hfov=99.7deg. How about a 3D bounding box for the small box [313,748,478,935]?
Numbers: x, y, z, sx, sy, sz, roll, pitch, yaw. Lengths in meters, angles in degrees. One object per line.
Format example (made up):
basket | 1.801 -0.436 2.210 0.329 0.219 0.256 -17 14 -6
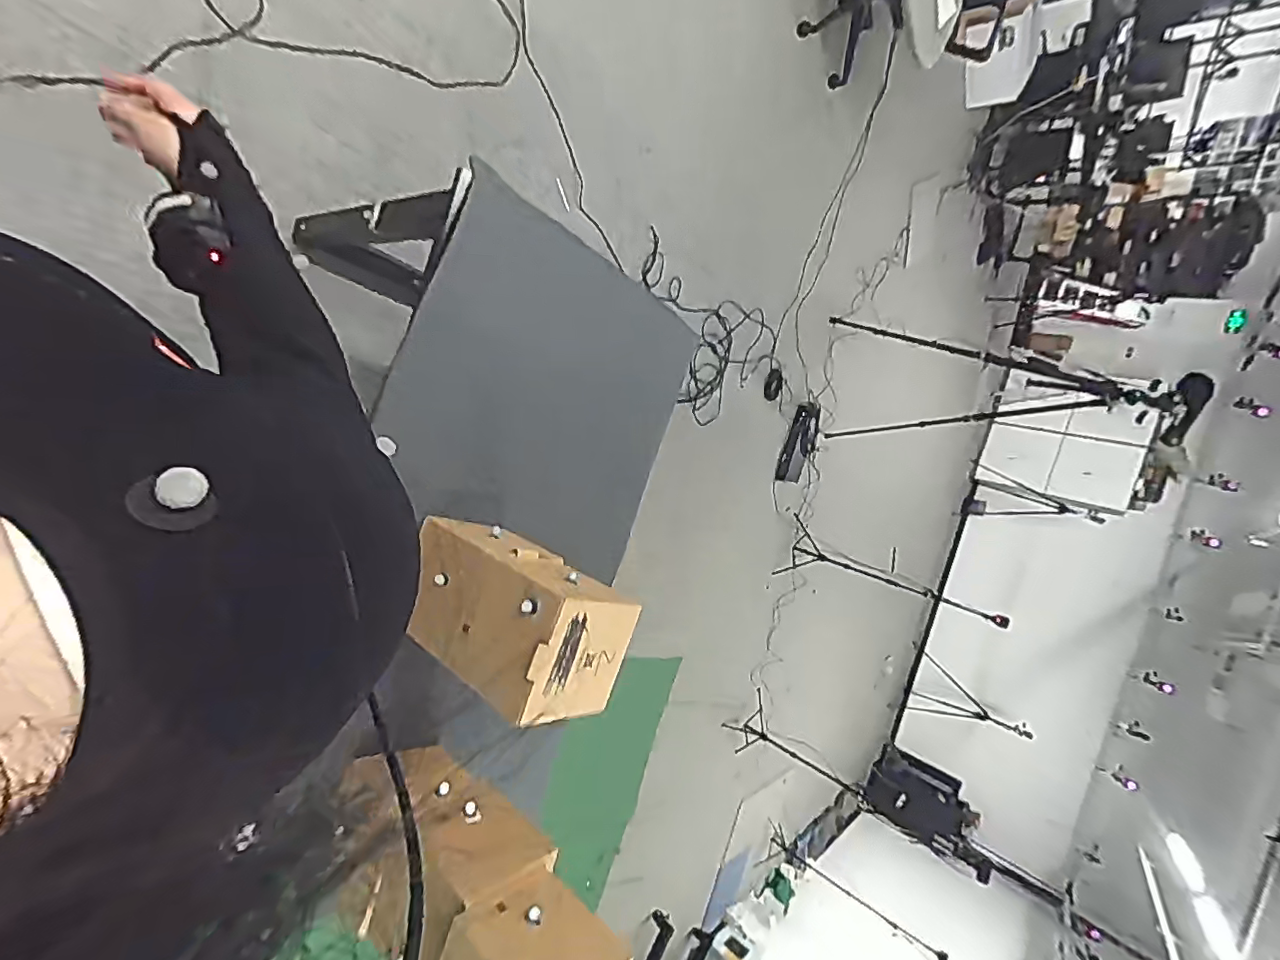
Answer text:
small box | -0.375 0.553 0.862 0.179 0.176 0.168 26 83 -52

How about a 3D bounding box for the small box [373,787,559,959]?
small box | -0.248 0.583 0.765 0.168 0.176 0.179 13 93 -55

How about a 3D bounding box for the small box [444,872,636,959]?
small box | -0.138 0.632 0.650 0.168 0.176 0.179 21 87 -55

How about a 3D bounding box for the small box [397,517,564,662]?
small box | -0.256 0.168 0.860 0.168 0.176 0.179 19 88 -52
